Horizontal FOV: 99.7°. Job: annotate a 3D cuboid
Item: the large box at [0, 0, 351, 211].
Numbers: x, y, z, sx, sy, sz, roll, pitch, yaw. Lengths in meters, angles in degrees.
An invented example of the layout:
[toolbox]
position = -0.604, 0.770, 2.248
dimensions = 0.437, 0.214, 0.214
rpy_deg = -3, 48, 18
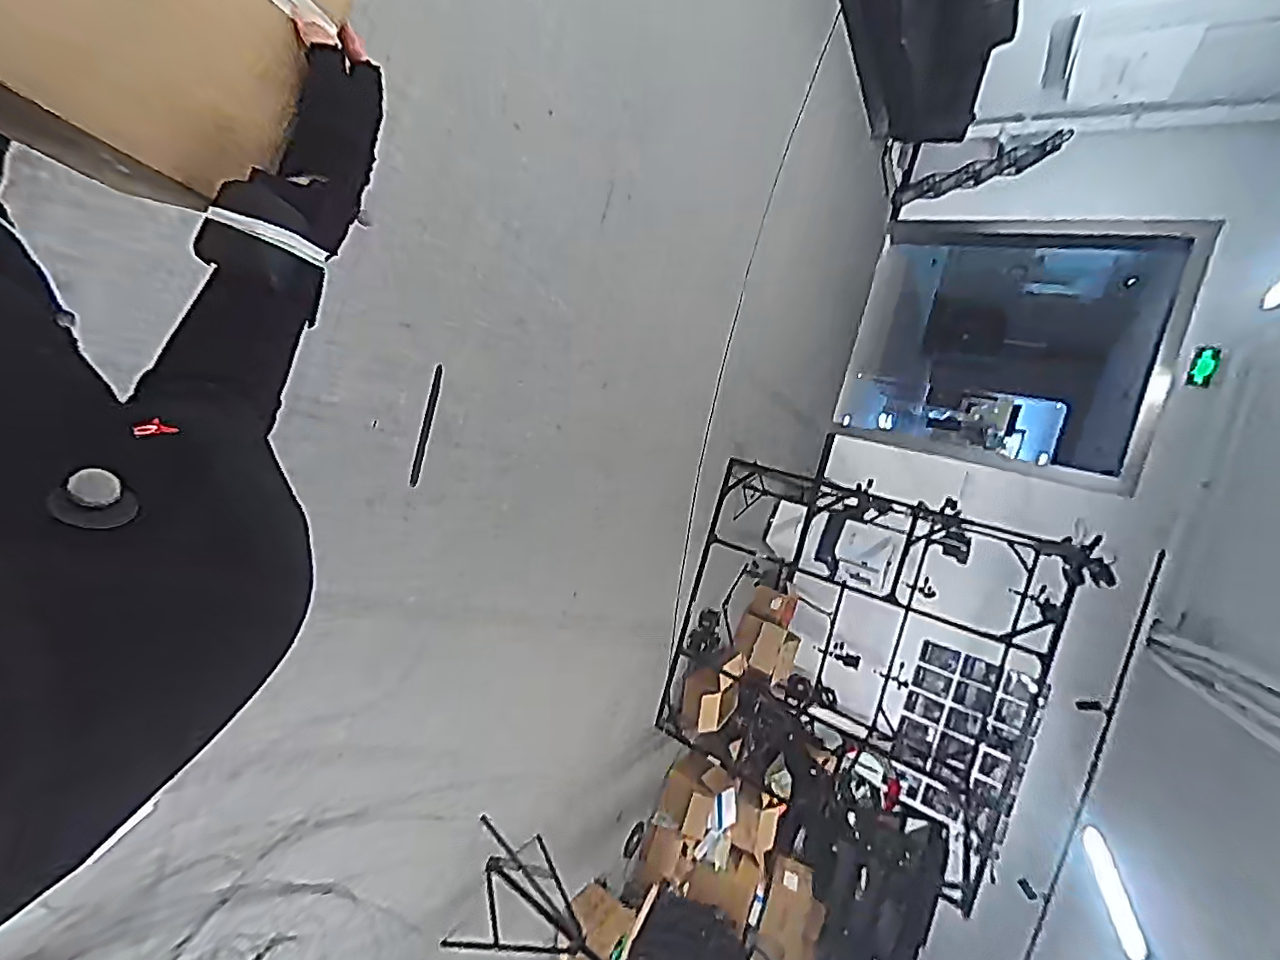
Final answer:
[large box]
position = -0.460, -0.440, 0.338
dimensions = 0.408, 0.320, 0.320
rpy_deg = 23, 91, -60
